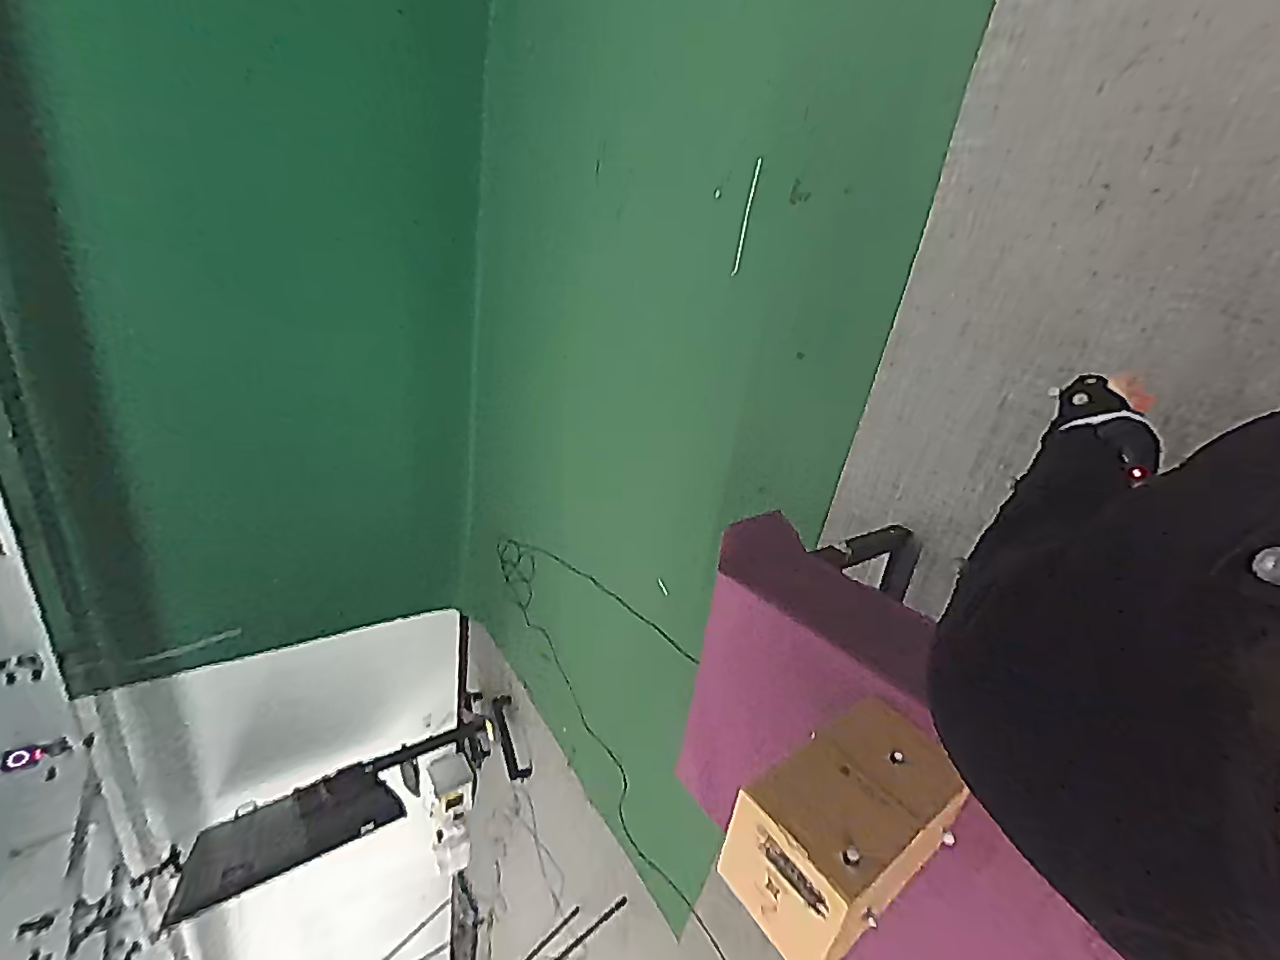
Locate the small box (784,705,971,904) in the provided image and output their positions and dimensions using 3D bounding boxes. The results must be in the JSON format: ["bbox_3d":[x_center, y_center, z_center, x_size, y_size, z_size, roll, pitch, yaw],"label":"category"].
[{"bbox_3d":[0.357,0.473,0.824,0.179,0.176,0.168,34,122,45],"label":"small box"}]
